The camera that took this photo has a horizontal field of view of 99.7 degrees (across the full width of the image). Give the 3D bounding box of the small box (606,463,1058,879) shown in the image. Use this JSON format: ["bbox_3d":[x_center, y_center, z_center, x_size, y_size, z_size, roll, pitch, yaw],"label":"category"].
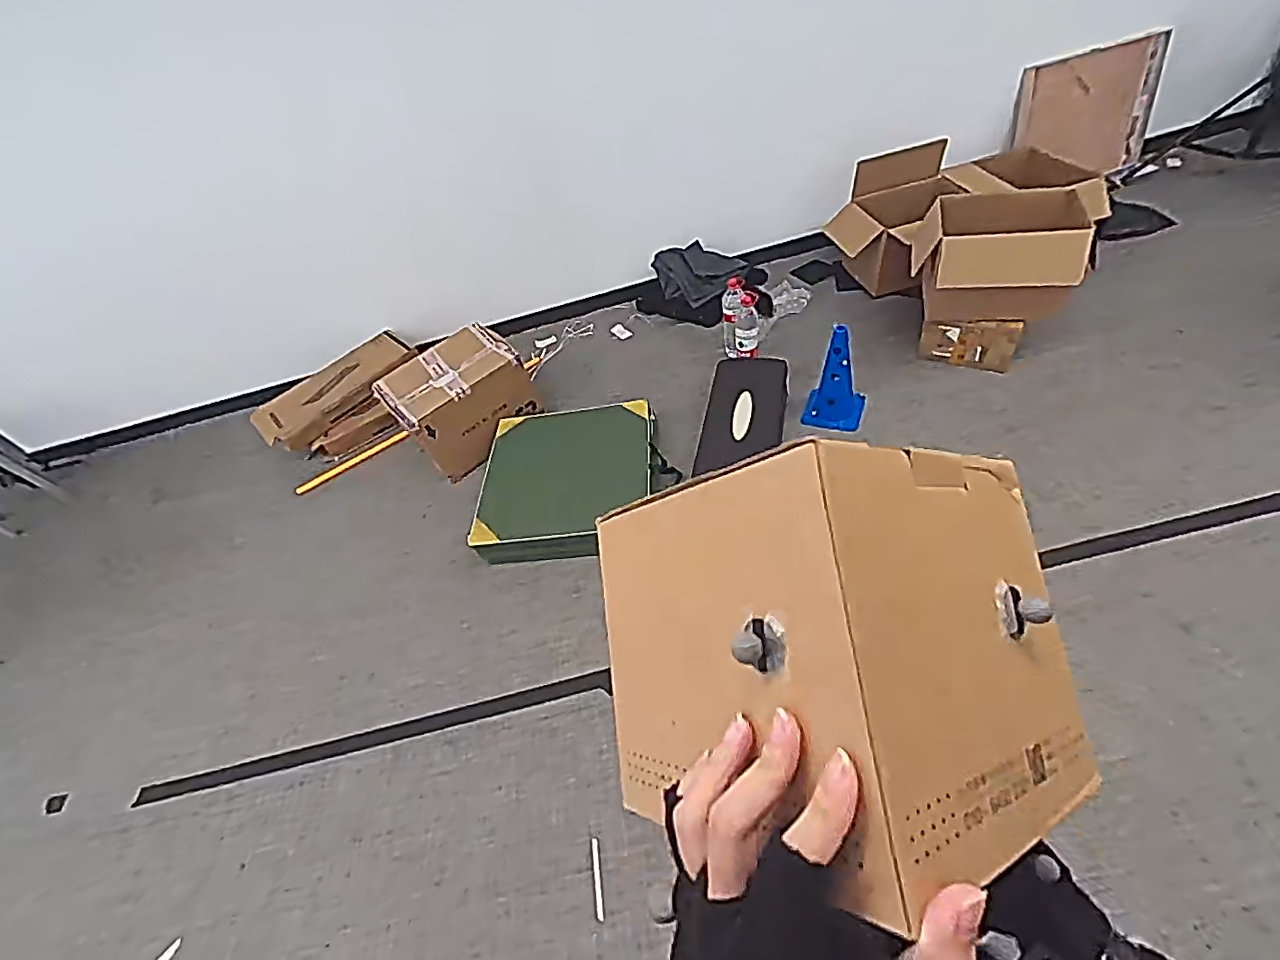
[{"bbox_3d":[0.099,0.095,0.317,0.168,0.179,0.176,2,74,-33],"label":"small box"}]
